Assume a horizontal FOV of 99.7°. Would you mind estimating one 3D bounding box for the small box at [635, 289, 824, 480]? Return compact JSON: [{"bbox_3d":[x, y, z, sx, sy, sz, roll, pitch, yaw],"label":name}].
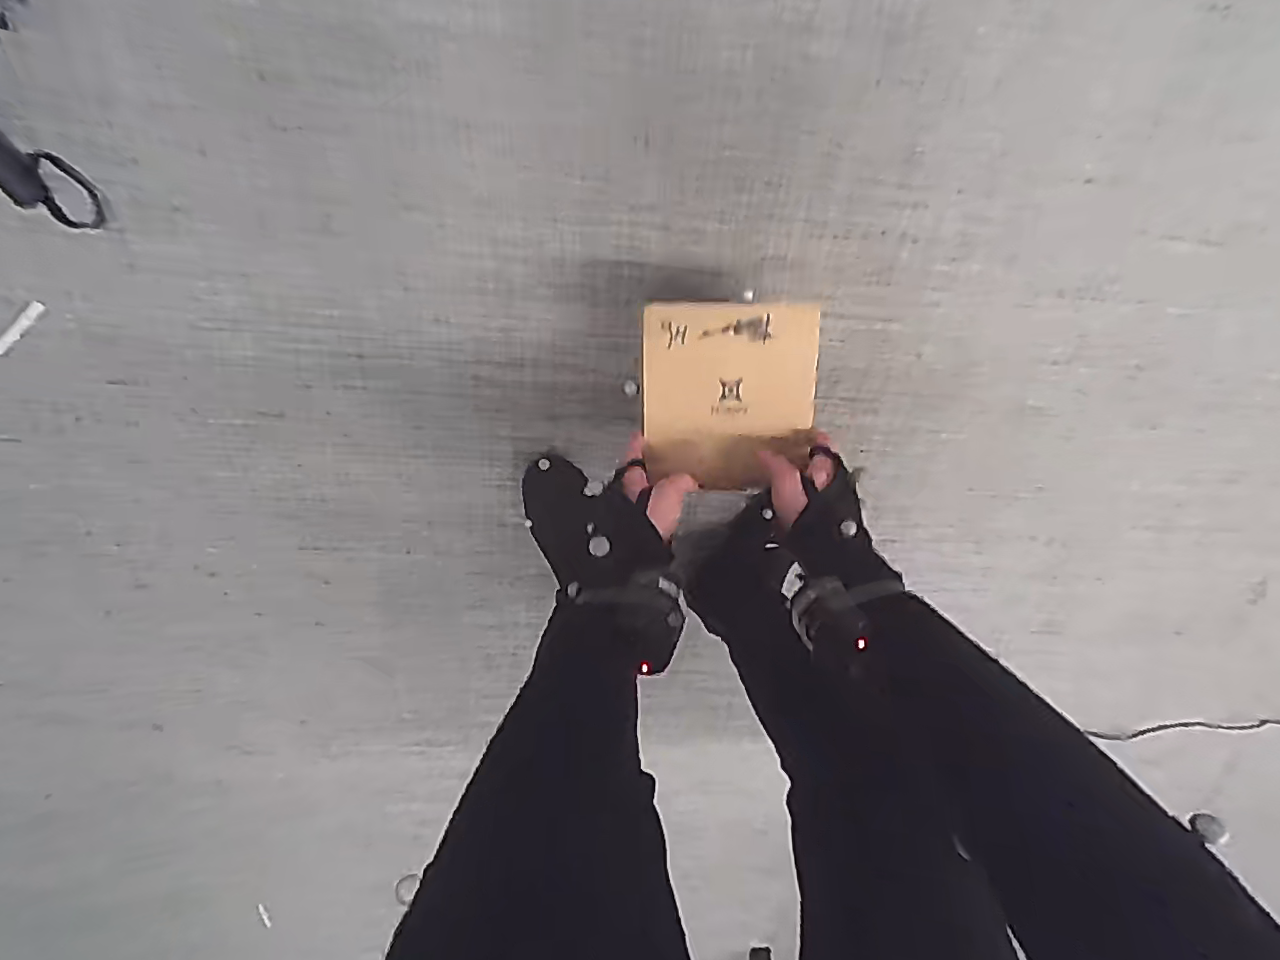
[{"bbox_3d":[0.080,-0.107,0.581,0.168,0.176,0.179,1,105,-2],"label":"small box"}]
